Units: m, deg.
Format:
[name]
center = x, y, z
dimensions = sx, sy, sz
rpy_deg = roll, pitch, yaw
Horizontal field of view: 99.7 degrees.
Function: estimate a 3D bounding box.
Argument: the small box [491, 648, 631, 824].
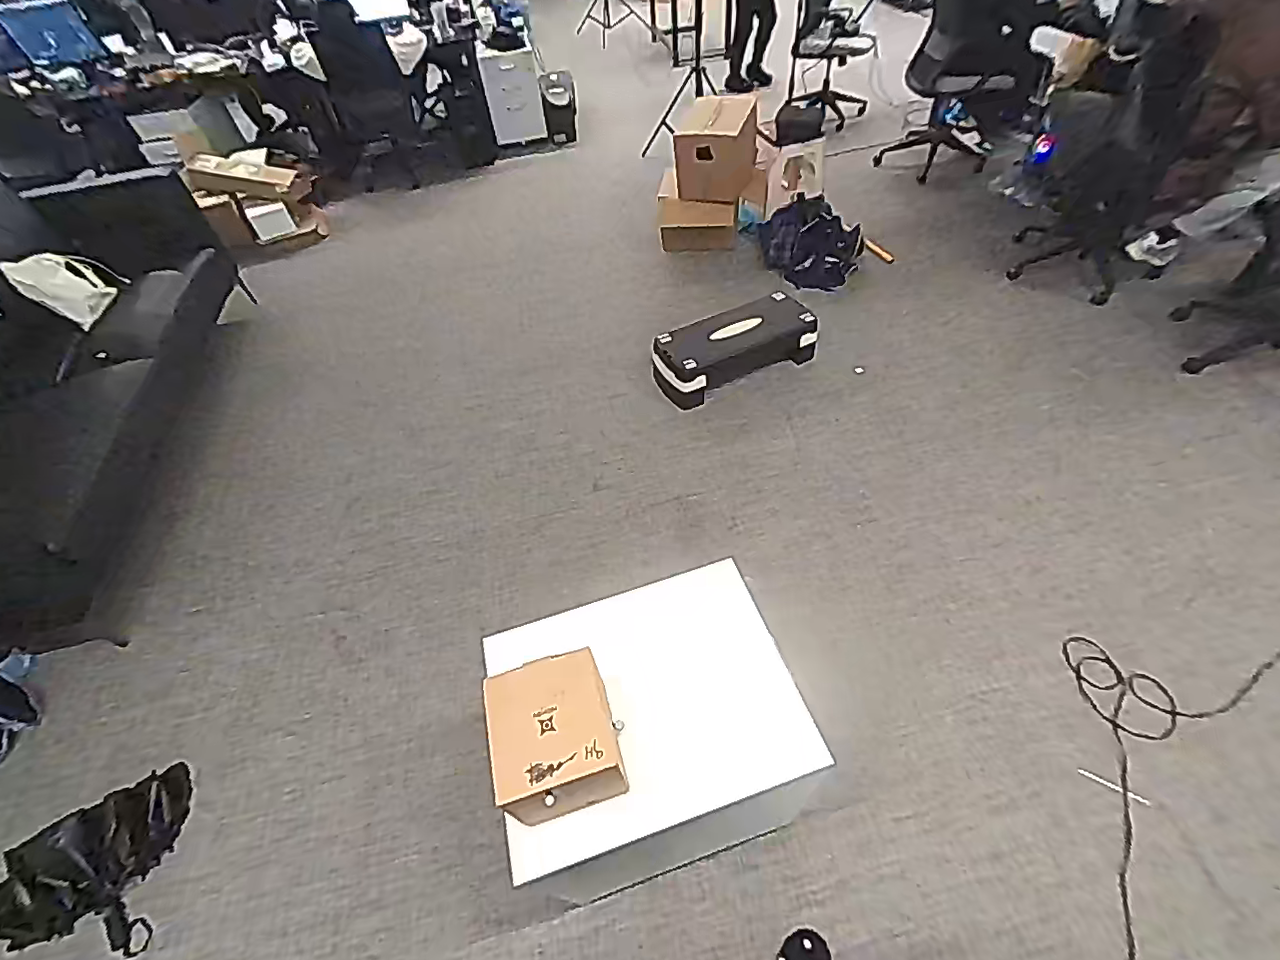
[small box]
center = -0.118, 0.389, 0.821
dimensions = 0.168, 0.176, 0.179
rpy_deg = -15, 49, -7
